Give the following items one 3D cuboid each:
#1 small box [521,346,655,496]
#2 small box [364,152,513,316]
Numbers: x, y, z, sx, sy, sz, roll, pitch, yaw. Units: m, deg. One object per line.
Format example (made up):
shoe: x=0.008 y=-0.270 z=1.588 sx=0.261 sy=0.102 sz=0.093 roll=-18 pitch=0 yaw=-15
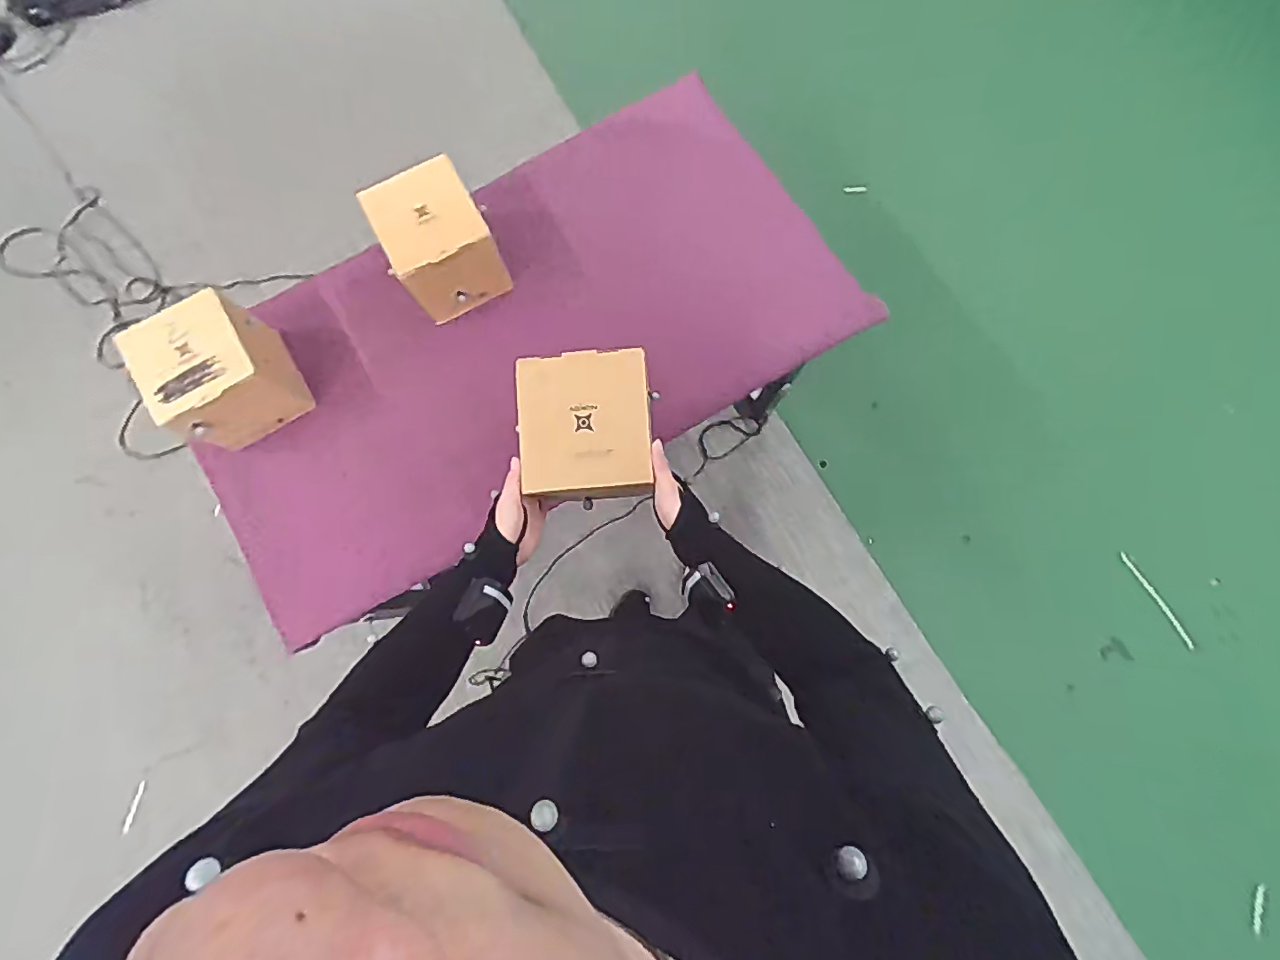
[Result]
small box: x=-0.066 y=-0.074 z=0.765 sx=0.168 sy=0.176 sz=0.179 roll=-3 pitch=84 yaw=4
small box: x=-0.354 y=-0.435 z=0.980 sx=0.168 sy=0.176 sz=0.179 roll=-29 pitch=82 yaw=-4
